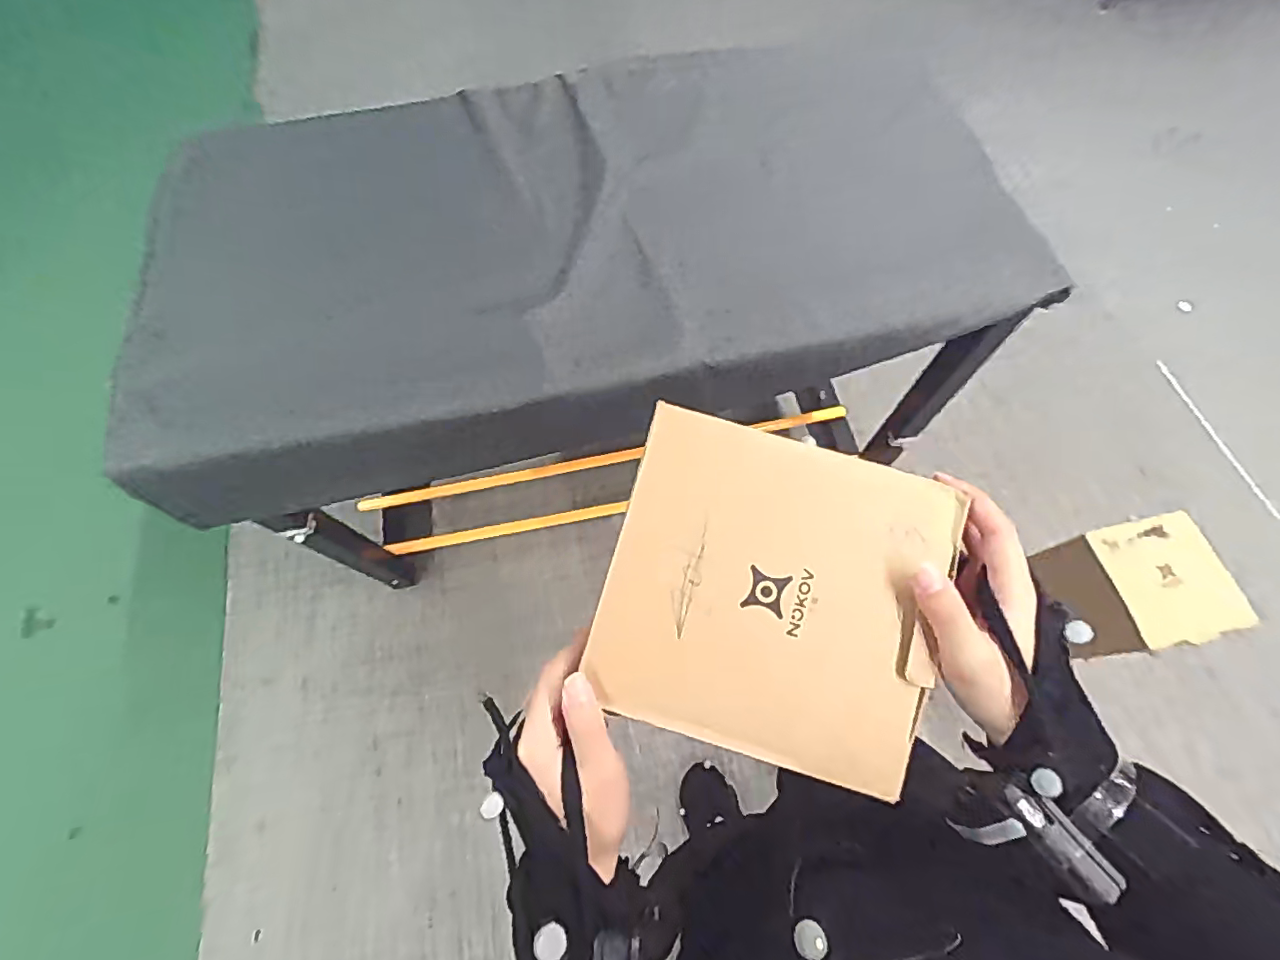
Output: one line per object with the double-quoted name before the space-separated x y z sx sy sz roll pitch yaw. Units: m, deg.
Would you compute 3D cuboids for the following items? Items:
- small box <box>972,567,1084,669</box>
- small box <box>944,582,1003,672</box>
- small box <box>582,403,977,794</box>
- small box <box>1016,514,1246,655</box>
"small box" 0.758 0.246 1.005 0.179 0.176 0.168 -12 66 -4
"small box" 0.774 0.307 1.157 0.179 0.176 0.168 -11 66 -3
"small box" 0.077 0.068 0.364 0.179 0.176 0.168 17 82 4
"small box" 0.755 0.174 0.857 0.168 0.176 0.179 -11 67 -3
